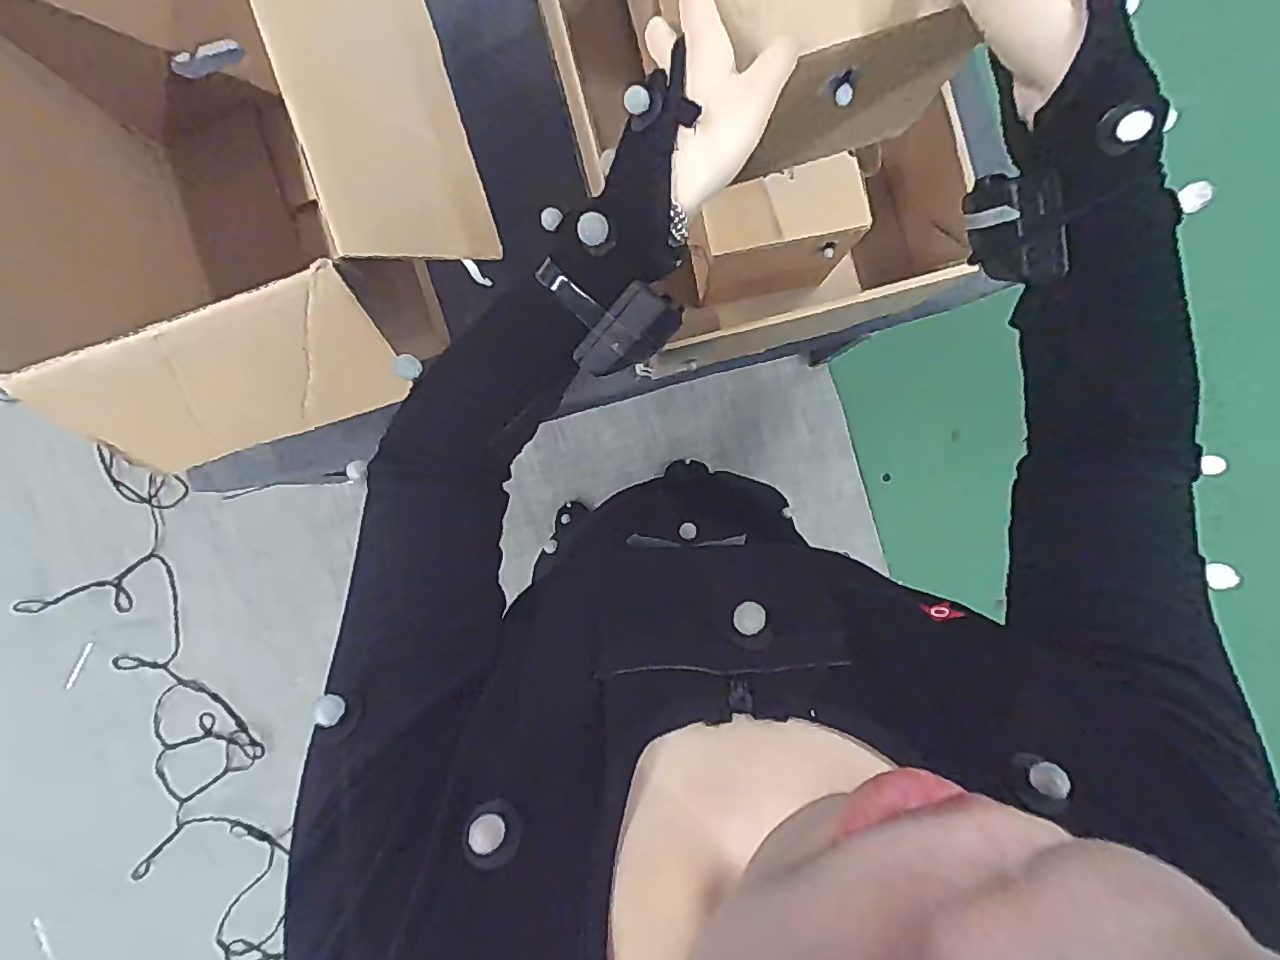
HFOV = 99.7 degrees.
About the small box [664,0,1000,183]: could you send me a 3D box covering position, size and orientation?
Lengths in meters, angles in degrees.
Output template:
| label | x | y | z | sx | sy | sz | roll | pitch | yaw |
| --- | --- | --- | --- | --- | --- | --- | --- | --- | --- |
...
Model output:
| label | x | y | z | sx | sy | sz | roll | pitch | yaw |
| --- | --- | --- | --- | --- | --- | --- | --- | --- | --- |
| small box | 0.115 | -0.345 | 0.386 | 0.179 | 0.176 | 0.168 | -15 | 97 | 4 |
